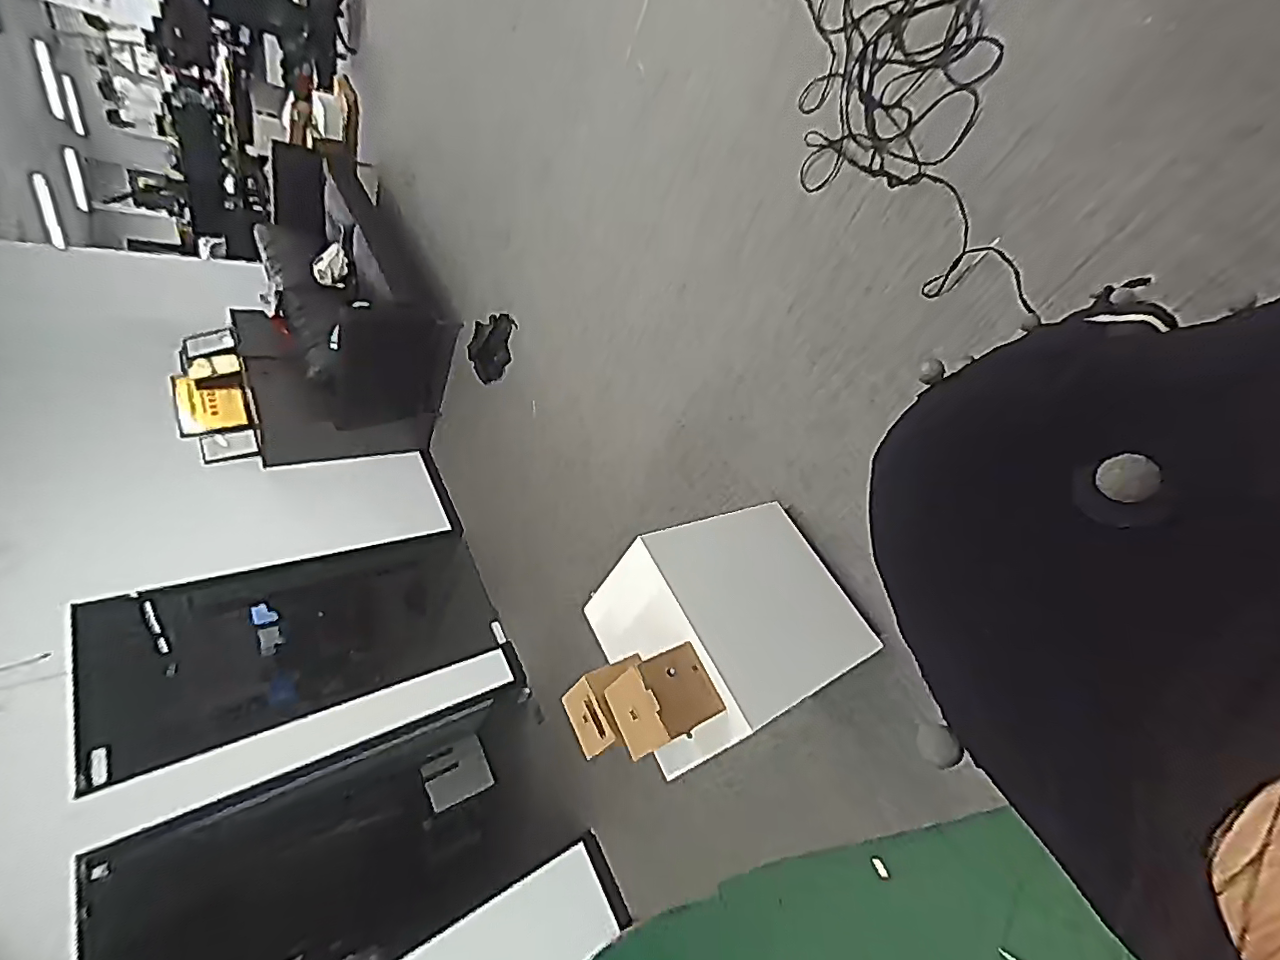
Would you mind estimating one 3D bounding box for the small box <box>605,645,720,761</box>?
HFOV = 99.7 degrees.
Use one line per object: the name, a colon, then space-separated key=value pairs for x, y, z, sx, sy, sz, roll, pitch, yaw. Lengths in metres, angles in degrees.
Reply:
small box: x=0.055 y=0.493 z=1.209 sx=0.168 sy=0.176 sz=0.179 roll=61 pitch=139 yaw=26
